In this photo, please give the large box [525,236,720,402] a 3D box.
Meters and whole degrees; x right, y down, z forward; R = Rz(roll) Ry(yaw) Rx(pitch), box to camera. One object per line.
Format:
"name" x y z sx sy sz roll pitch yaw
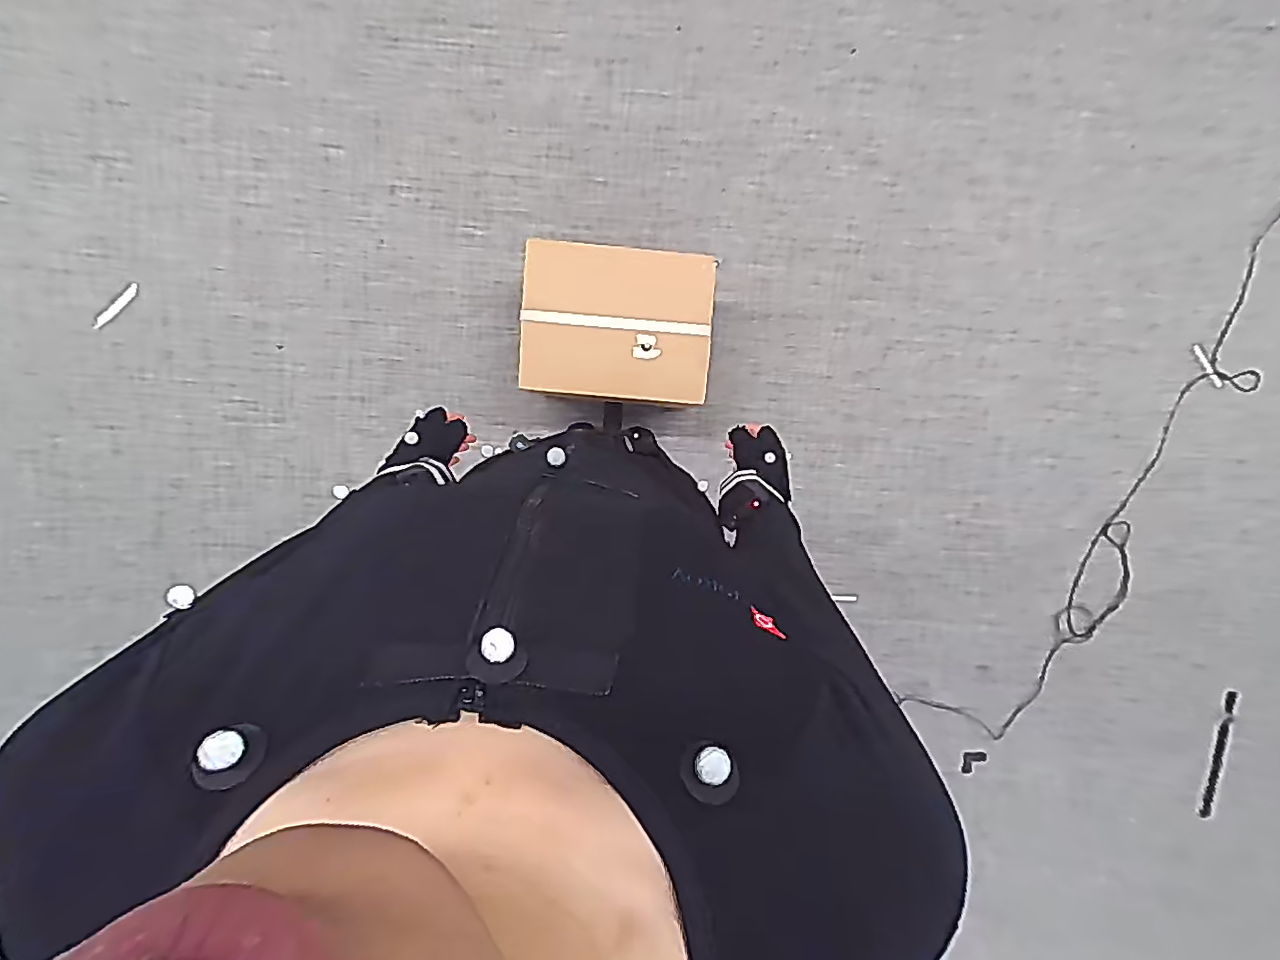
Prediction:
"large box" -0.046 -0.358 1.291 0.408 0.320 0.320 4 97 -3
